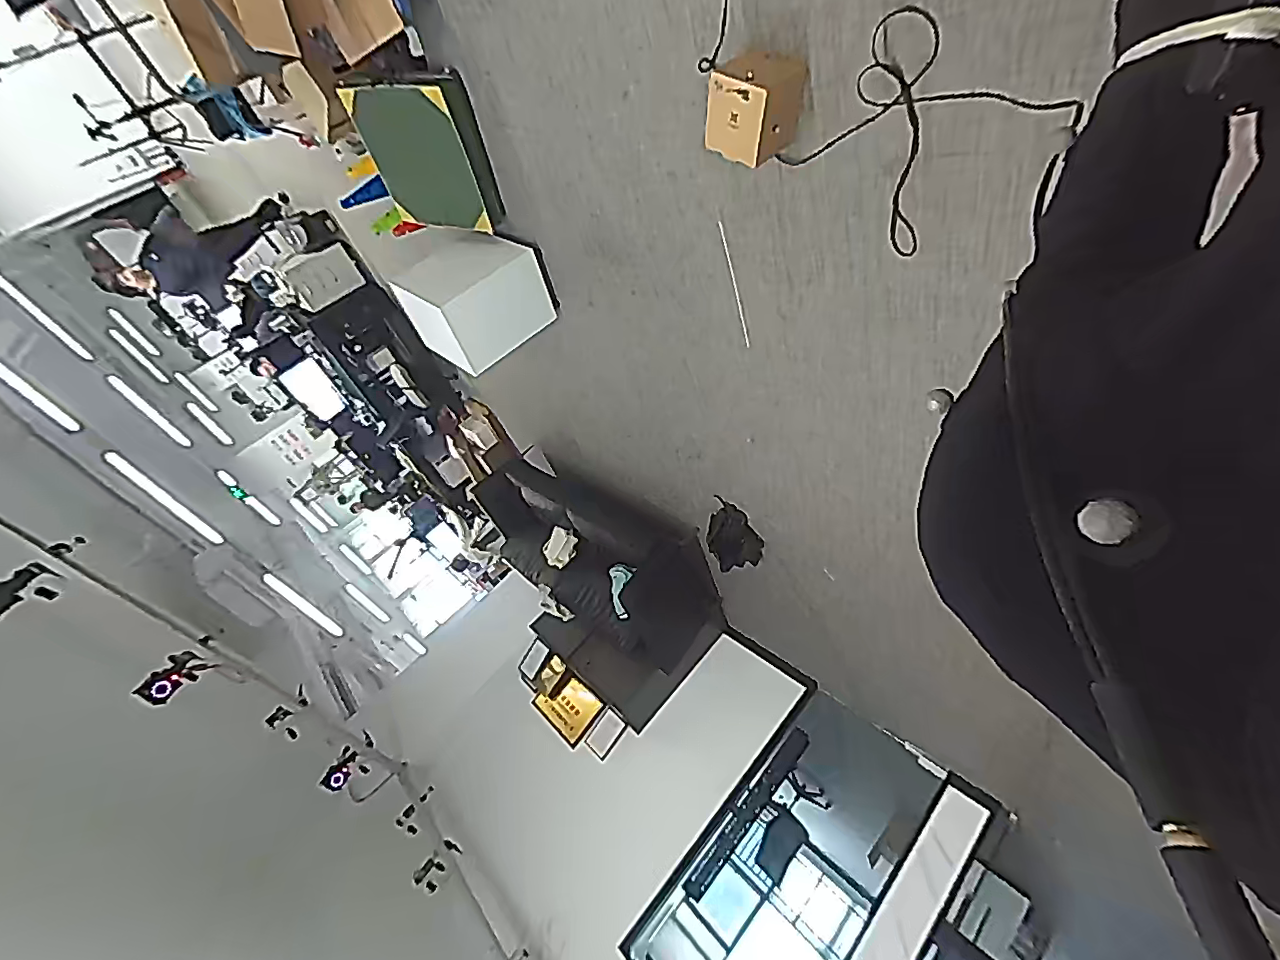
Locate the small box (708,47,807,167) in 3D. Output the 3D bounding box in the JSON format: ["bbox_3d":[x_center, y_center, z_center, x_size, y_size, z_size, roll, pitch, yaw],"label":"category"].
[{"bbox_3d":[0.288,-0.923,1.337,0.168,0.176,0.179,38,156,22],"label":"small box"}]
